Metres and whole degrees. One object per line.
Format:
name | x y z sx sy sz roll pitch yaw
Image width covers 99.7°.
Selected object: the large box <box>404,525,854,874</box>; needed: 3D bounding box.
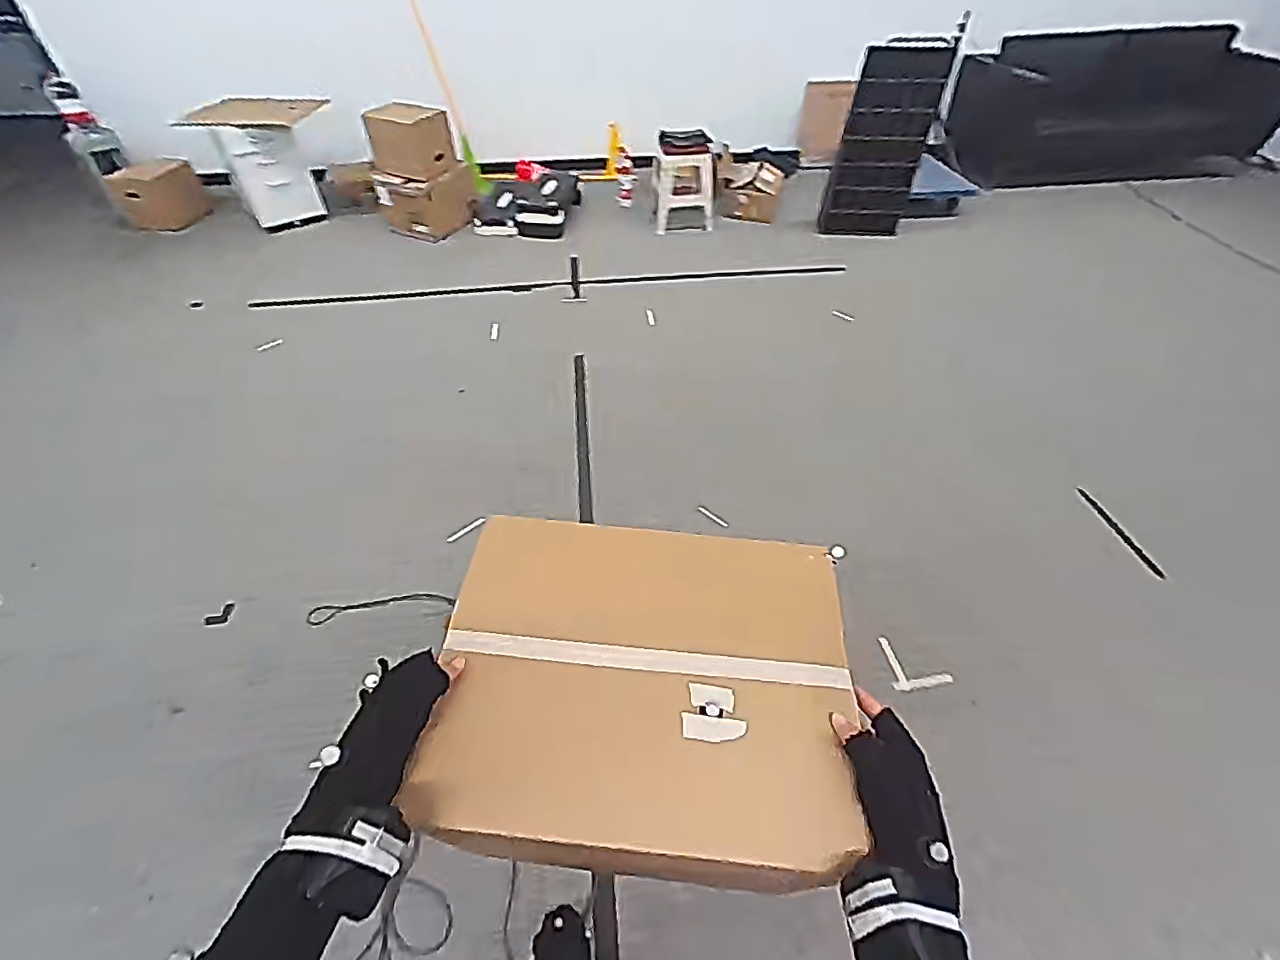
large box | -0.008 0.280 0.676 0.408 0.320 0.320 5 52 1
